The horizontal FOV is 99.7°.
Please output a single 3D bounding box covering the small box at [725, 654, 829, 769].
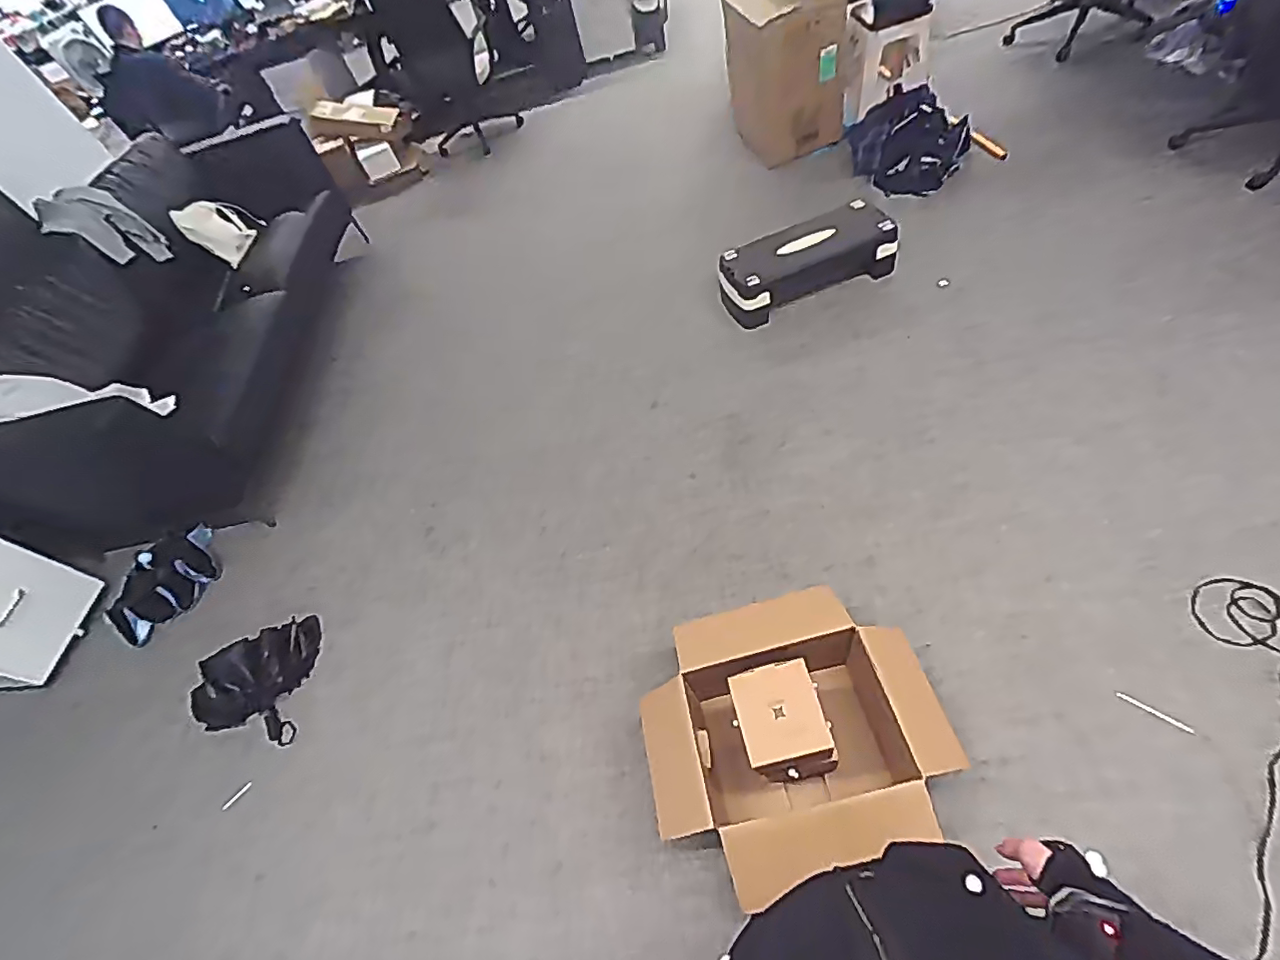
[{"bbox_3d":[0.288,0.496,1.149,0.168,0.176,0.179,-17,55,6],"label":"small box"}]
